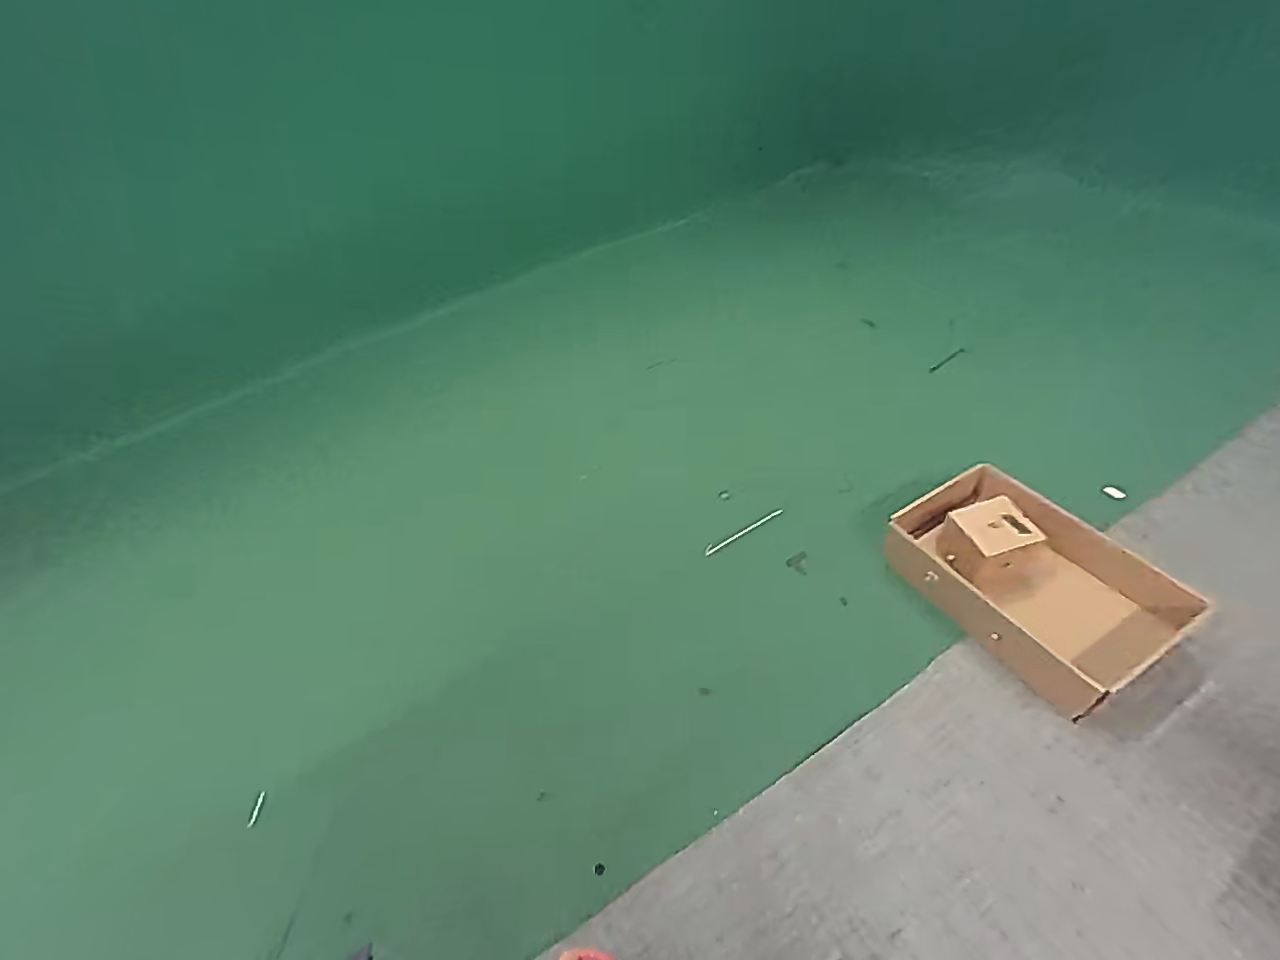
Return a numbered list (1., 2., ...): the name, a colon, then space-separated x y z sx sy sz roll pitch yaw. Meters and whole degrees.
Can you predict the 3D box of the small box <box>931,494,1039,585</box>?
1. small box: 0.969 0.171 1.537 0.179 0.176 0.168 -16 46 -4
